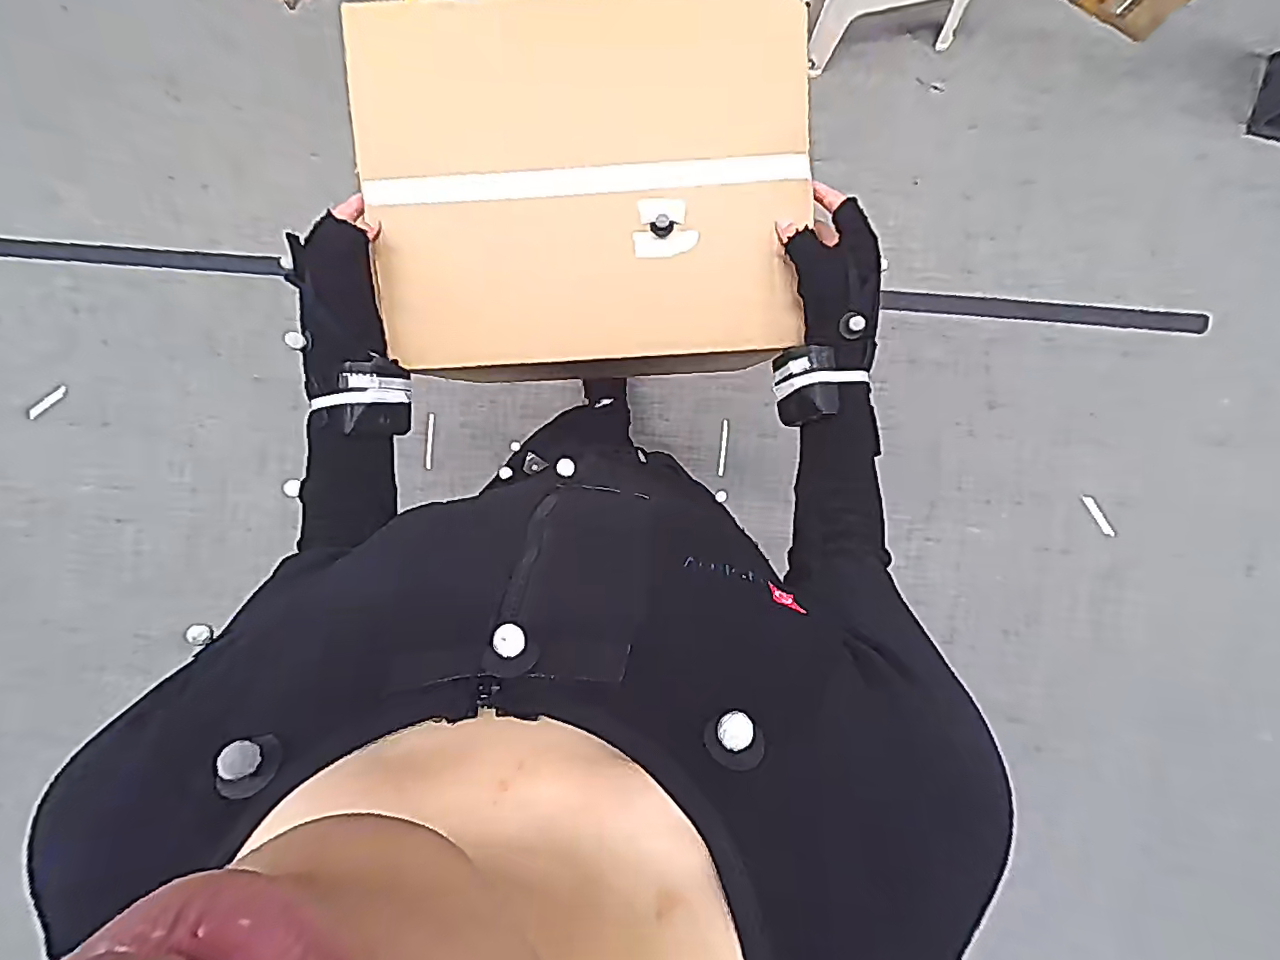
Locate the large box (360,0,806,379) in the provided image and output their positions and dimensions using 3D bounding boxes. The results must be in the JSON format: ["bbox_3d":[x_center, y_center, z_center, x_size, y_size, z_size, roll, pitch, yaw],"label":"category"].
[{"bbox_3d":[-0.050,-0.300,0.651,0.408,0.320,0.320,-3,98,0],"label":"large box"}]
